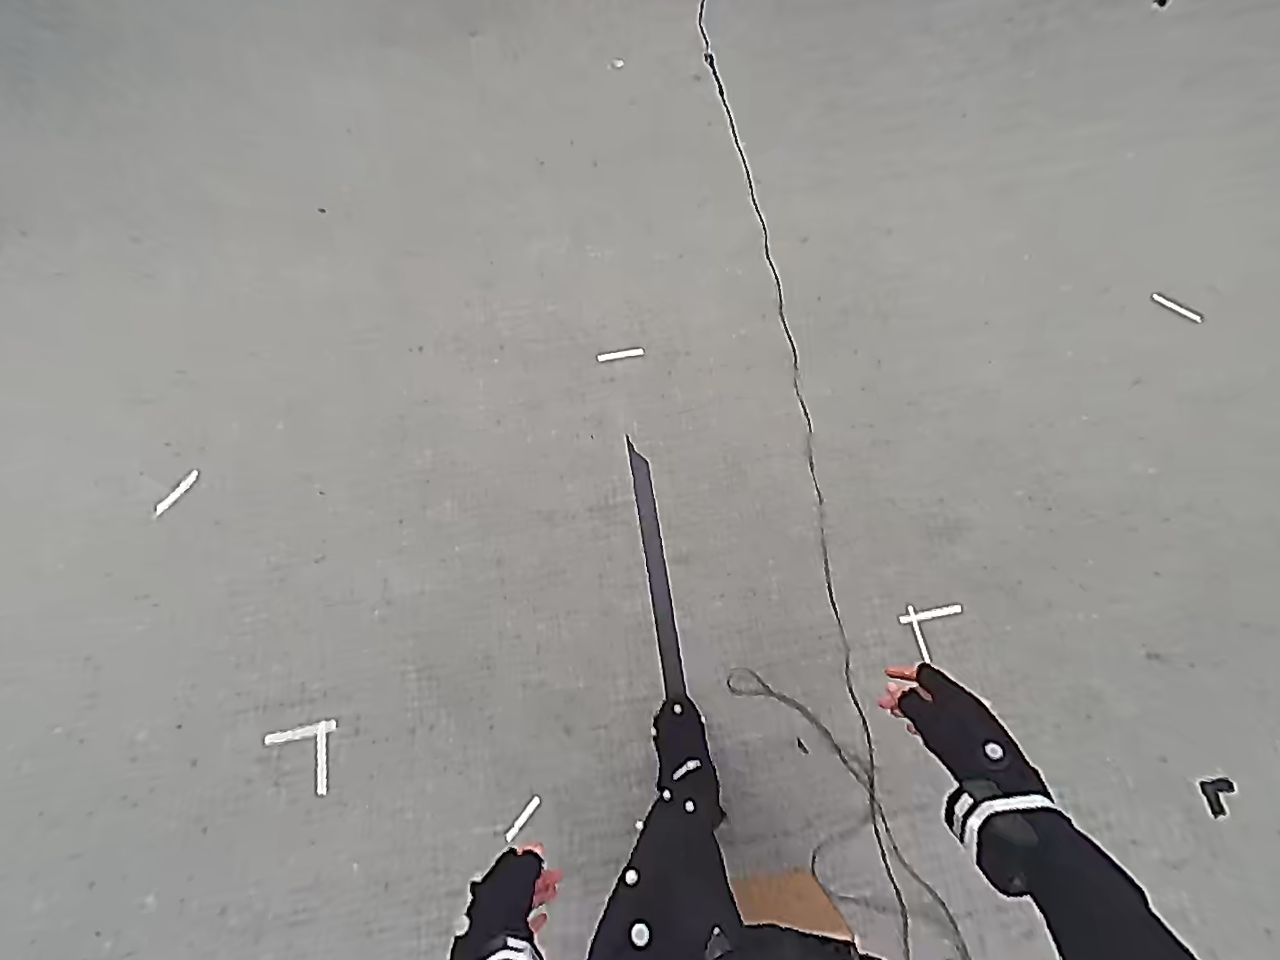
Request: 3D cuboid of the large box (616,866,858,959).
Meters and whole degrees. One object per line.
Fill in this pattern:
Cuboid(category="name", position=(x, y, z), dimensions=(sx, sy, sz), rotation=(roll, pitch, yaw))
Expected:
Cuboid(category="large box", position=(0.184, 0.959, 0.985), dimensions=(0.408, 0.320, 0.320), rotation=(-10, 70, 0))
